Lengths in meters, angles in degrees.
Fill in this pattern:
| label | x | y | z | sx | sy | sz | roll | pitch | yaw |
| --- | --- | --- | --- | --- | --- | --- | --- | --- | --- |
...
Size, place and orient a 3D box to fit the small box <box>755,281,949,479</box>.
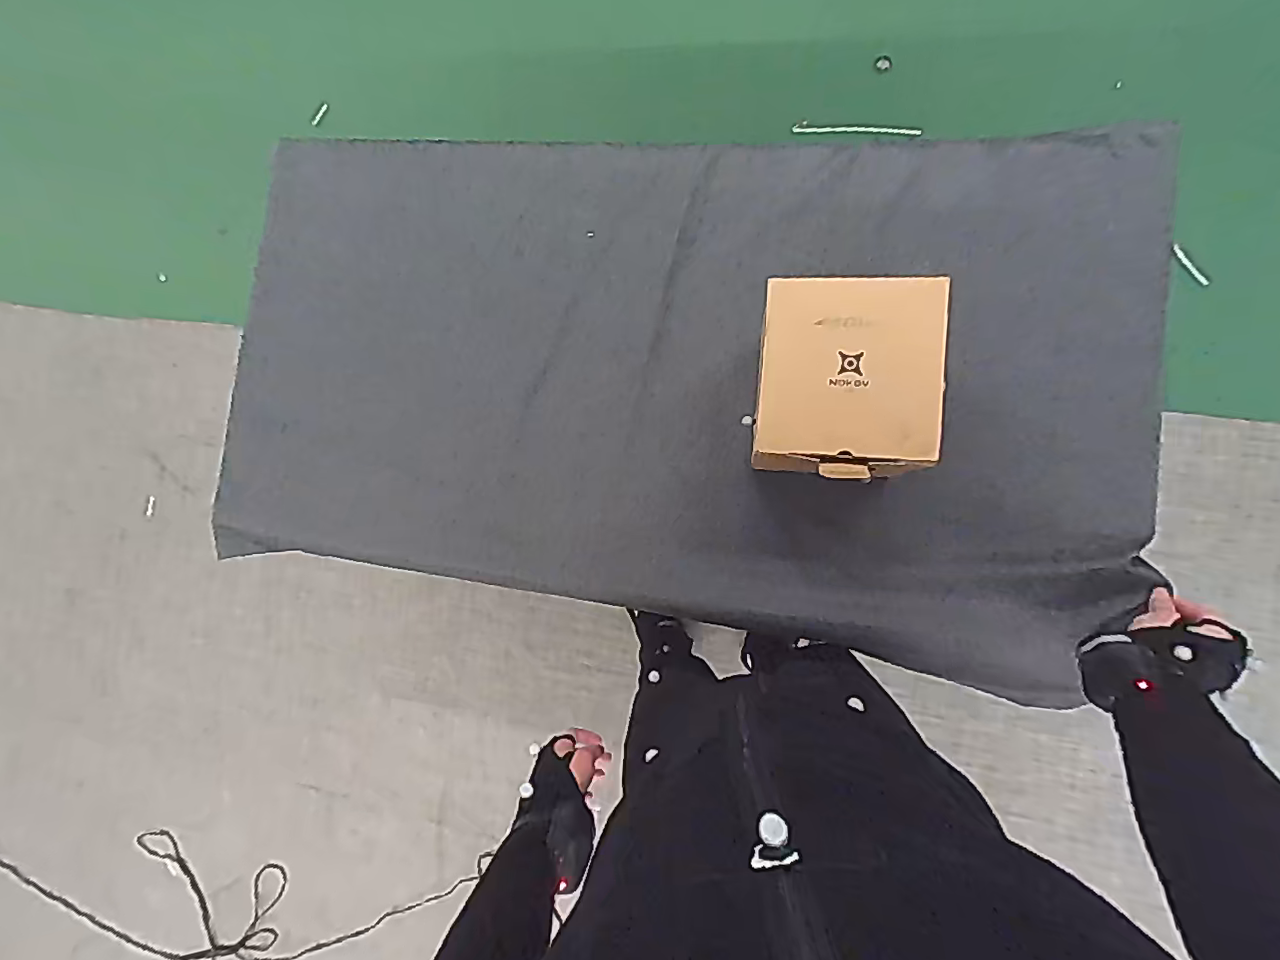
| label | x | y | z | sx | sy | sz | roll | pitch | yaw |
| --- | --- | --- | --- | --- | --- | --- | --- | --- | --- |
| small box | 0.216 | -0.098 | 0.591 | 0.168 | 0.176 | 0.179 | 4 | 85 | 10 |
